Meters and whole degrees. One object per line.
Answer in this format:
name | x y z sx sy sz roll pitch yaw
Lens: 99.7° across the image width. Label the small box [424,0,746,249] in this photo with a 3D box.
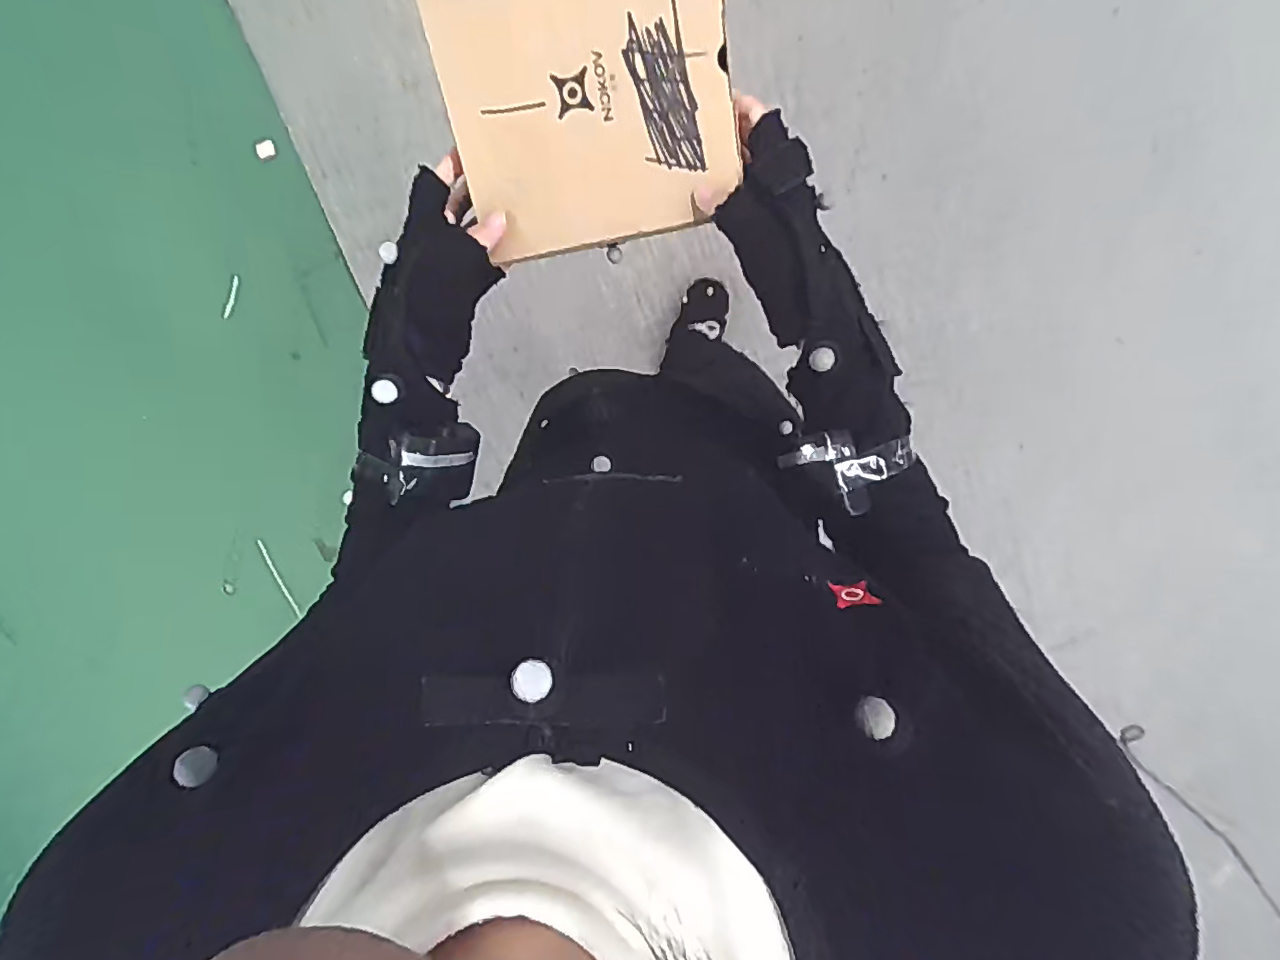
small box | -0.028 -0.274 0.397 0.179 0.176 0.168 -8 113 7
